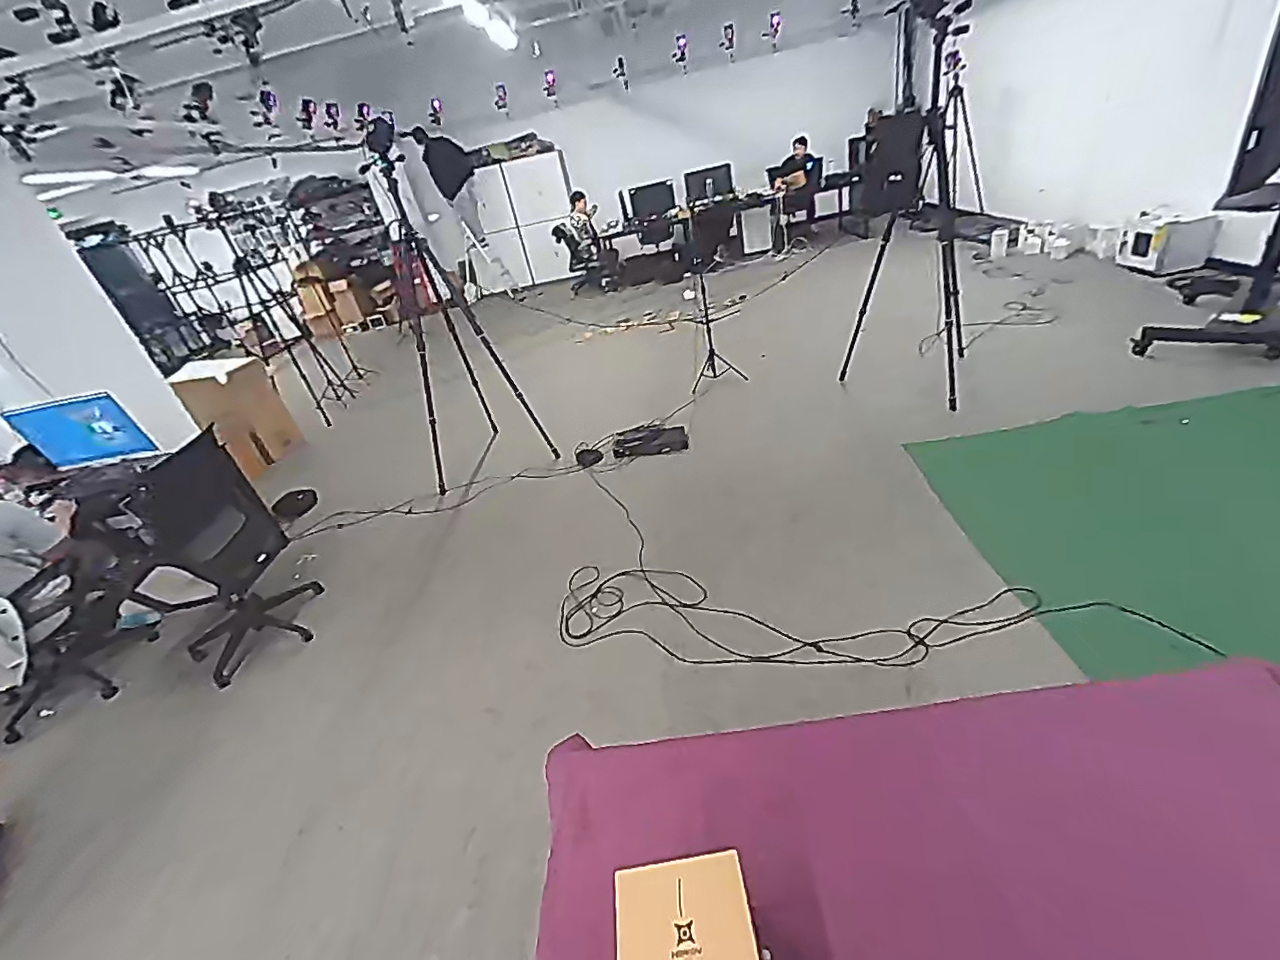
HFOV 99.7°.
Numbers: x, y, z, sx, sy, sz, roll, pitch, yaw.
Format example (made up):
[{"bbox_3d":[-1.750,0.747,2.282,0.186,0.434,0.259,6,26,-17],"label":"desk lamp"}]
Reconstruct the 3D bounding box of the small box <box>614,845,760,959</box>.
[{"bbox_3d":[0.065,0.604,0.678,0.168,0.176,0.179,-11,31,2],"label":"small box"}]
